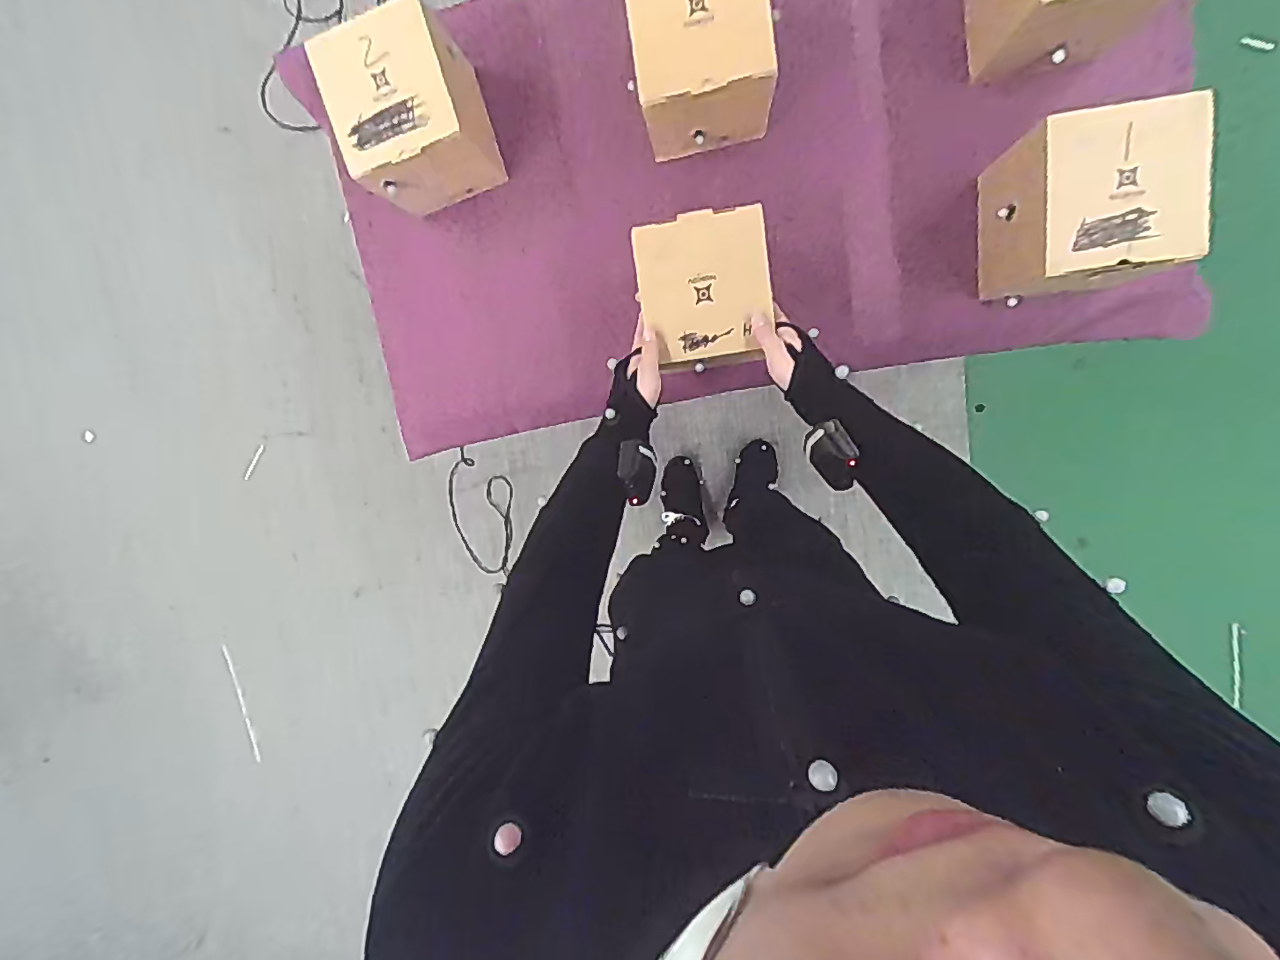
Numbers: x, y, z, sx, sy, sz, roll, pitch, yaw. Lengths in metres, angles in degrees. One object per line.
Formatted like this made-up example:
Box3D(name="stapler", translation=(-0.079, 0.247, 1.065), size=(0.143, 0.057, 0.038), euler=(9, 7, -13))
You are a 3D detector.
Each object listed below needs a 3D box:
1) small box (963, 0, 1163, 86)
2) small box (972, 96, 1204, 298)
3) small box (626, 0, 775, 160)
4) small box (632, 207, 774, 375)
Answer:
Box3D(name="small box", translation=(0.506, -0.622, 0.645), size=(0.168, 0.176, 0.179), euler=(-7, 99, 9))
Box3D(name="small box", translation=(0.547, -0.337, 0.686), size=(0.168, 0.176, 0.179), euler=(-4, 97, 8))
Box3D(name="small box", translation=(0.075, -0.561, 0.712), size=(0.168, 0.176, 0.179), euler=(-9, 99, 8))
Box3D(name="small box", translation=(0.088, -0.250, 0.758), size=(0.168, 0.176, 0.179), euler=(-7, 96, 9))
